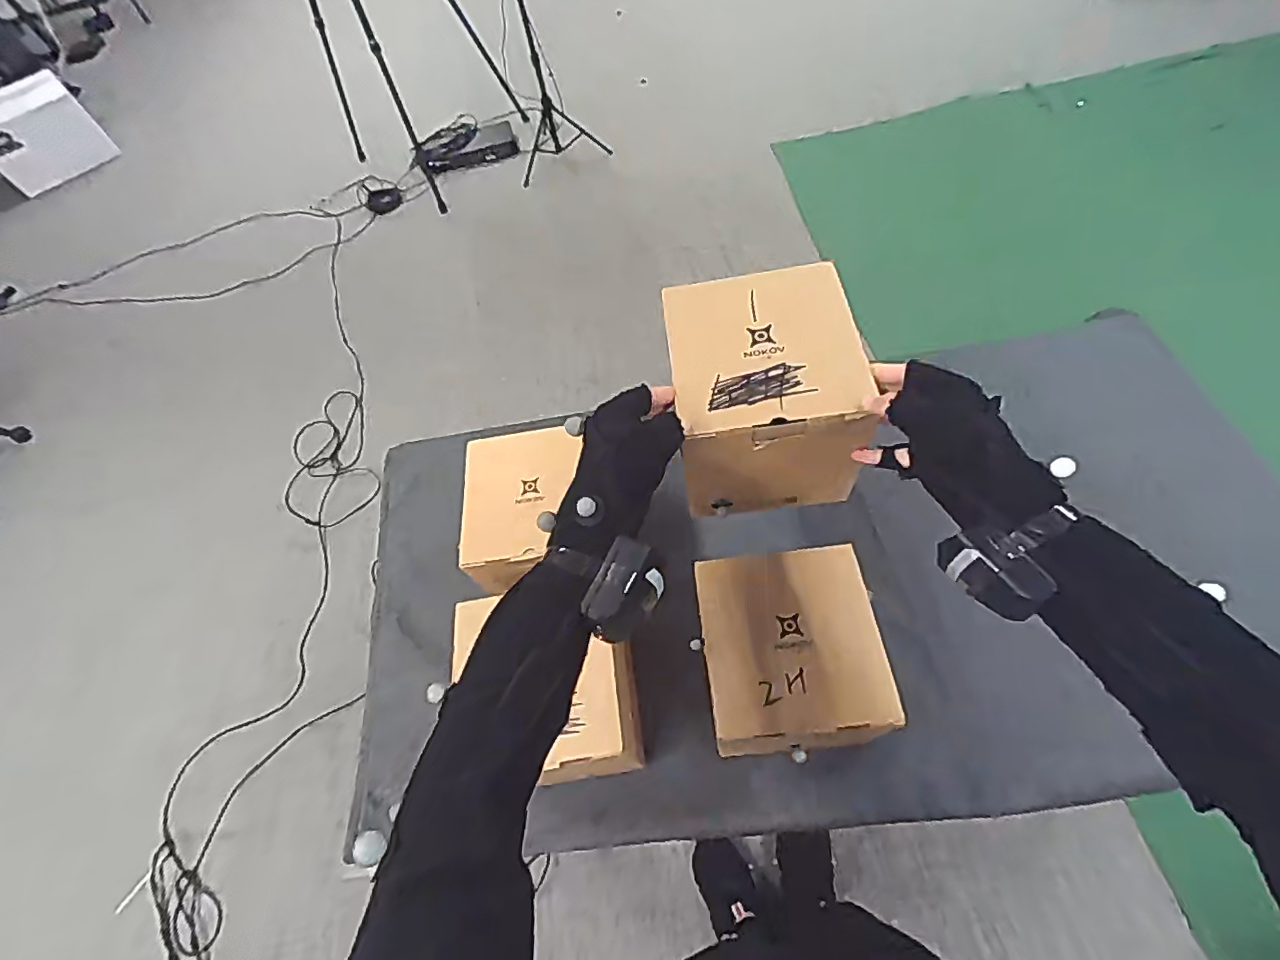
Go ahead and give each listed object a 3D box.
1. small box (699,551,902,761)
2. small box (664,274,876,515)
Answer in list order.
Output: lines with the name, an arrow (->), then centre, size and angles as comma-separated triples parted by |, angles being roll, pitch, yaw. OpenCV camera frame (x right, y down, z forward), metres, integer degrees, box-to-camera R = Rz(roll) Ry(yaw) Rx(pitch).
small box -> 0.154, 0.197, 0.590 | 0.168, 0.176, 0.179 | -7, 58, 4
small box -> 0.119, -0.073, 0.551 | 0.168, 0.176, 0.179 | -7, 61, 5
